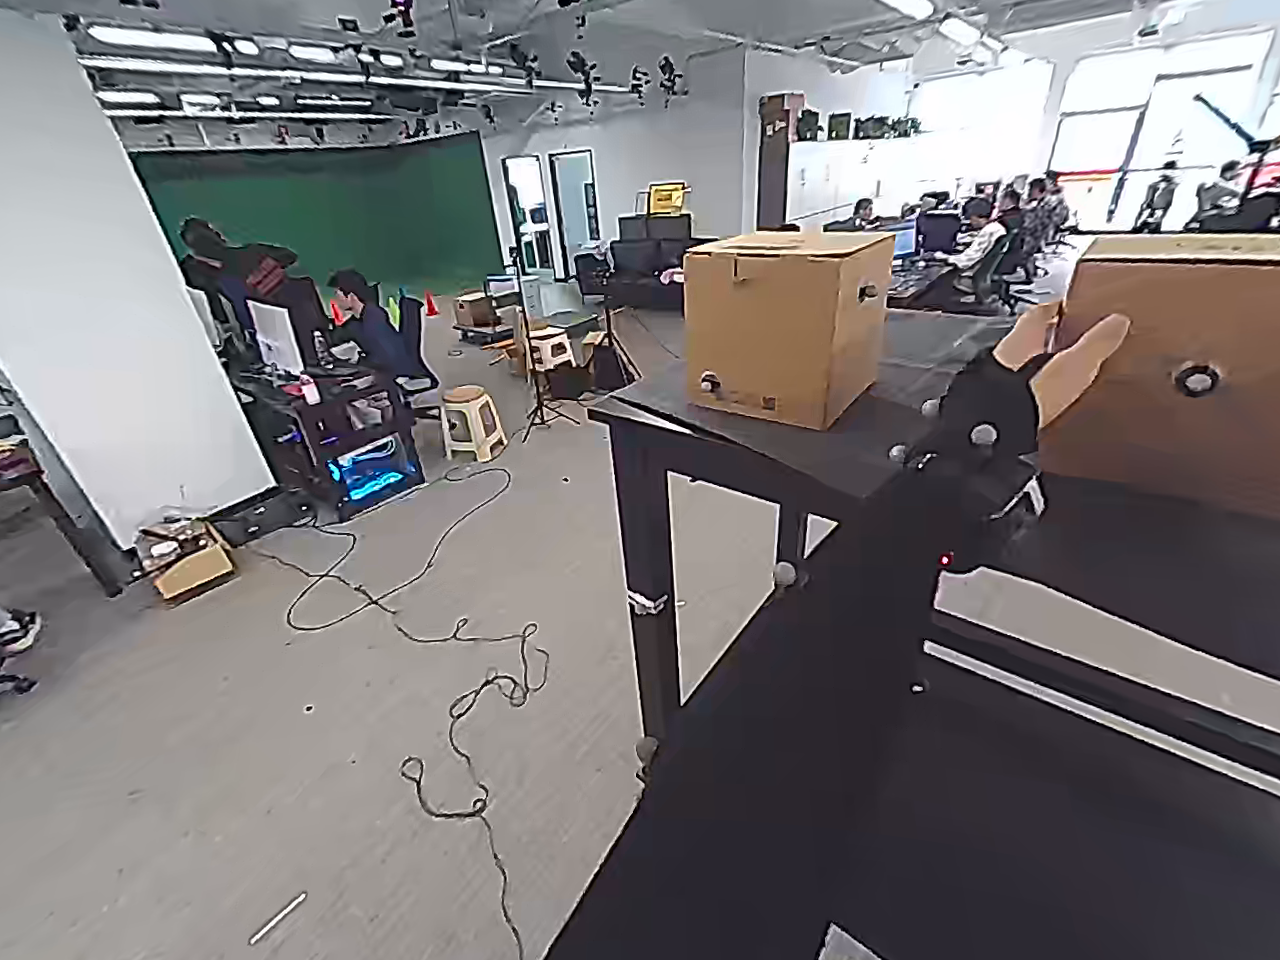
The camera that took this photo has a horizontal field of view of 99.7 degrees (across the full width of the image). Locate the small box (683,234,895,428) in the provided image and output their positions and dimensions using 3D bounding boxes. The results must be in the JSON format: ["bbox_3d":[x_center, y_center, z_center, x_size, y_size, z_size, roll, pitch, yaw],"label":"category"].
[{"bbox_3d":[0.165,-0.172,0.604,0.168,0.176,0.179,18,36,33],"label":"small box"}]
